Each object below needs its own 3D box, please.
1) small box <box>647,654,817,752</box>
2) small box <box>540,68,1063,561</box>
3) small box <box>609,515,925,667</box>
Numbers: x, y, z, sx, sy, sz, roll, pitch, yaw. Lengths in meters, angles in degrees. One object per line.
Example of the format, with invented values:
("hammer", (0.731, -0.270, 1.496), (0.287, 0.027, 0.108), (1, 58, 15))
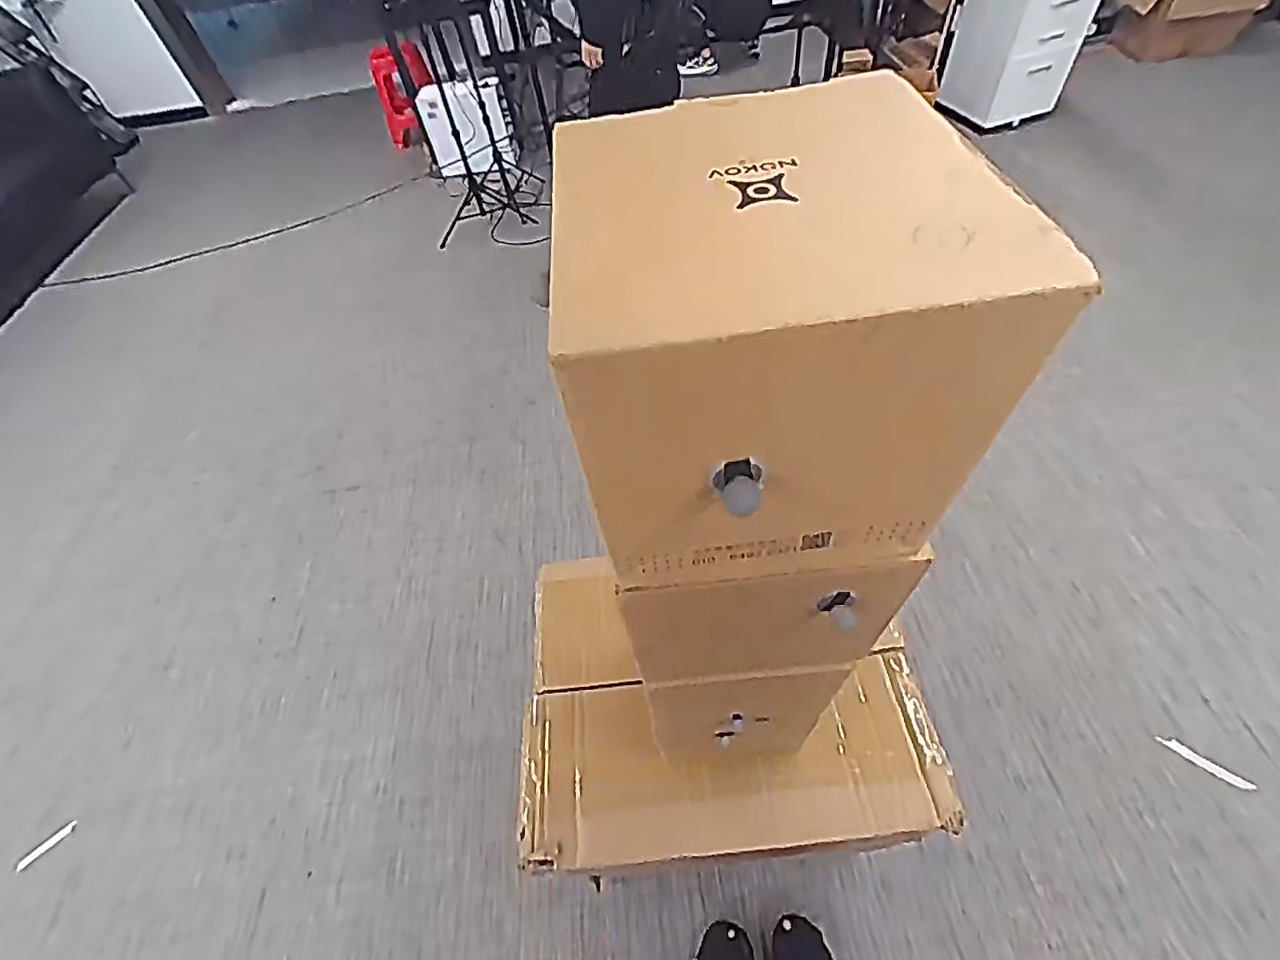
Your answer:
("small box", (0.102, 0.227, 0.667), (0.179, 0.176, 0.168), (-6, 53, 3))
("small box", (0.051, -0.071, 0.279), (0.168, 0.176, 0.179), (-8, 53, 2))
("small box", (0.072, 0.029, 0.405), (0.179, 0.176, 0.168), (-7, 53, 3))
